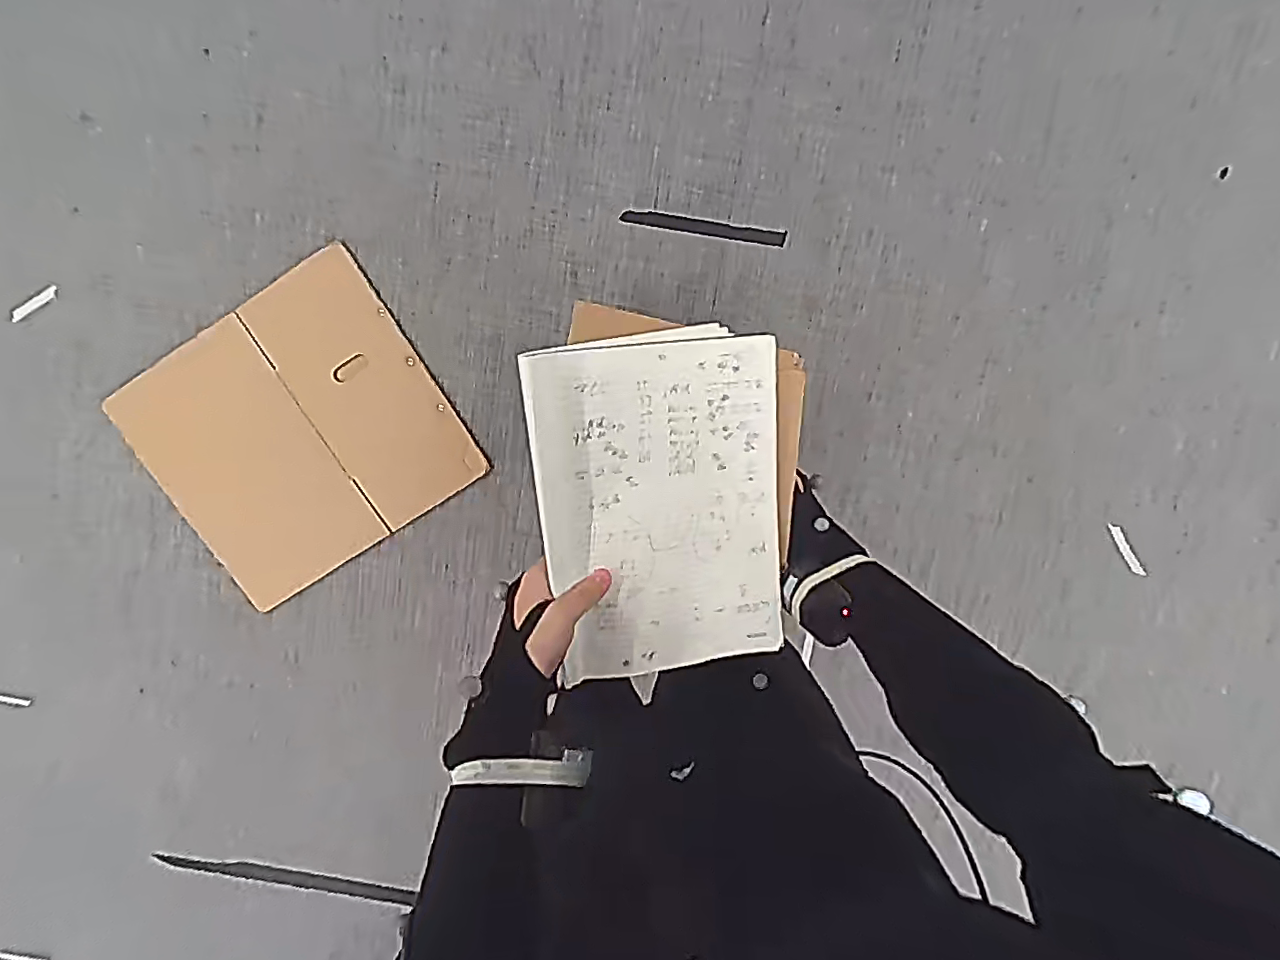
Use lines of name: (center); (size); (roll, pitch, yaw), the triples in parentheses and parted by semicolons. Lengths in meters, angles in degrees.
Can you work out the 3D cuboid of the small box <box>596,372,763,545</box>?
small box: (0.047, -0.038, 0.709); (0.168, 0.176, 0.179); (13, 101, -1)
